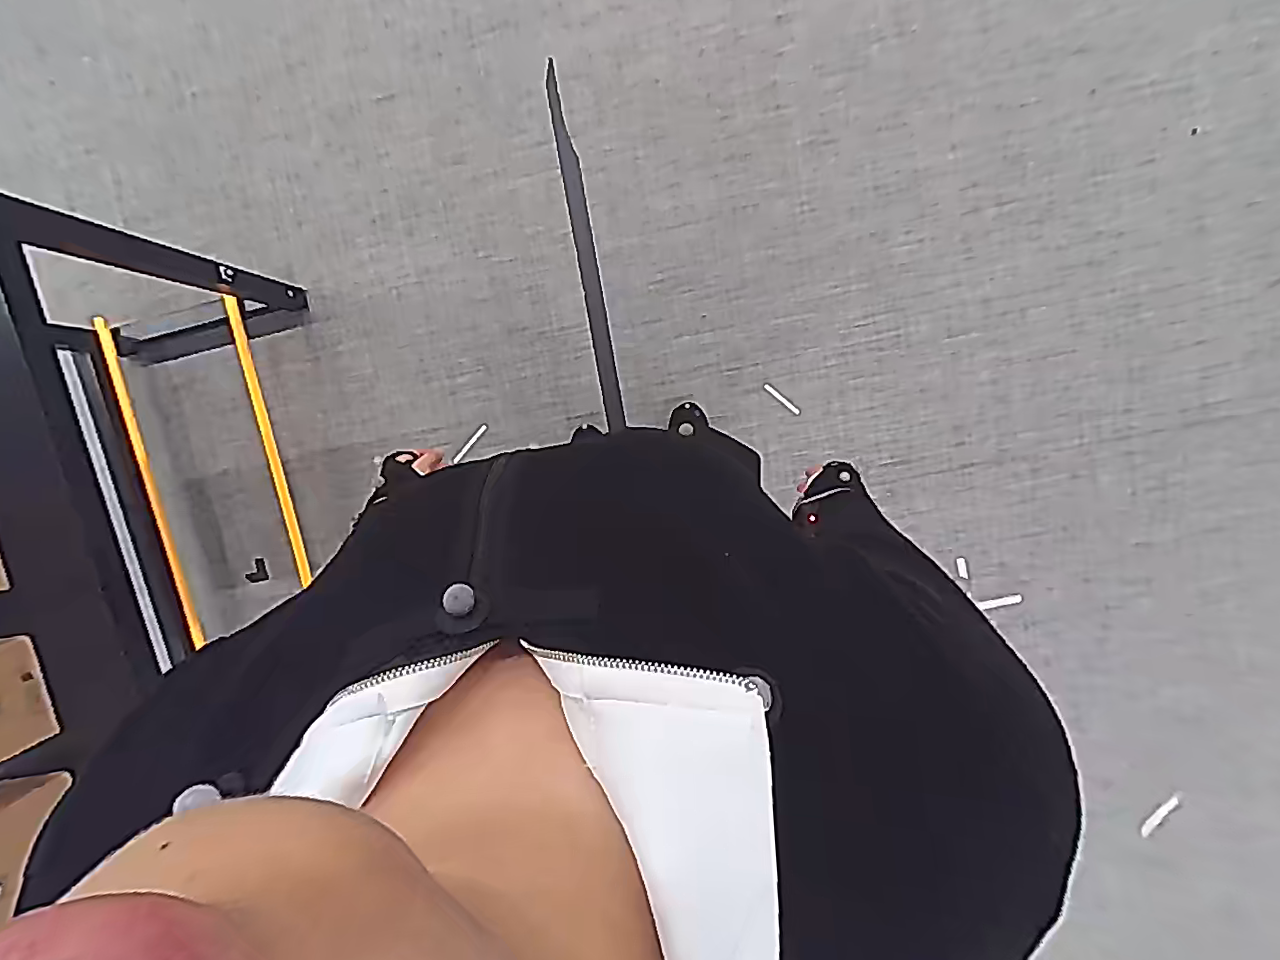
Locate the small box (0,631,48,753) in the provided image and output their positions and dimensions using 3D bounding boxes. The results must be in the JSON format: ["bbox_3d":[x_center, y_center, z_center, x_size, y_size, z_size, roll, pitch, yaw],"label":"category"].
[{"bbox_3d":[-1.023,0.332,0.776,0.179,0.176,0.168,-10,97,4],"label":"small box"}]

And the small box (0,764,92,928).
[{"bbox_3d":[-0.985,0.561,0.803,0.168,0.176,0.179,-10,96,4],"label":"small box"}]
